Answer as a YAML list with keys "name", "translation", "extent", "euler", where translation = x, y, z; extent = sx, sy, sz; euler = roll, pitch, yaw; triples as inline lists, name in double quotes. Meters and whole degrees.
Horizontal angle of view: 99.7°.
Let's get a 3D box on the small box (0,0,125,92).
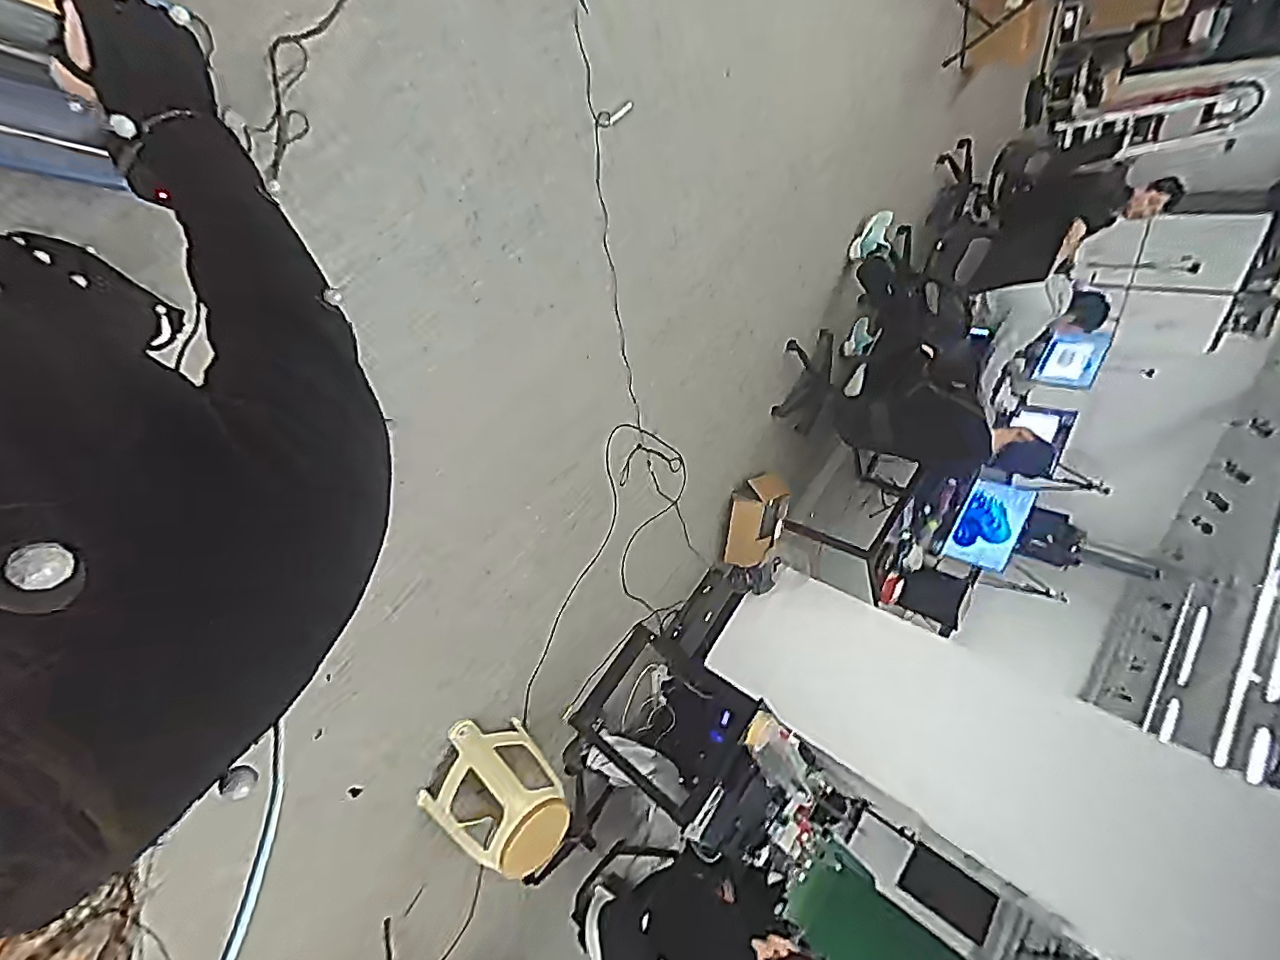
- name: "small box"
  translation: [-0.829, -0.666, 0.737]
  extent: [0.168, 0.176, 0.179]
  euler: [-9, 113, -47]
